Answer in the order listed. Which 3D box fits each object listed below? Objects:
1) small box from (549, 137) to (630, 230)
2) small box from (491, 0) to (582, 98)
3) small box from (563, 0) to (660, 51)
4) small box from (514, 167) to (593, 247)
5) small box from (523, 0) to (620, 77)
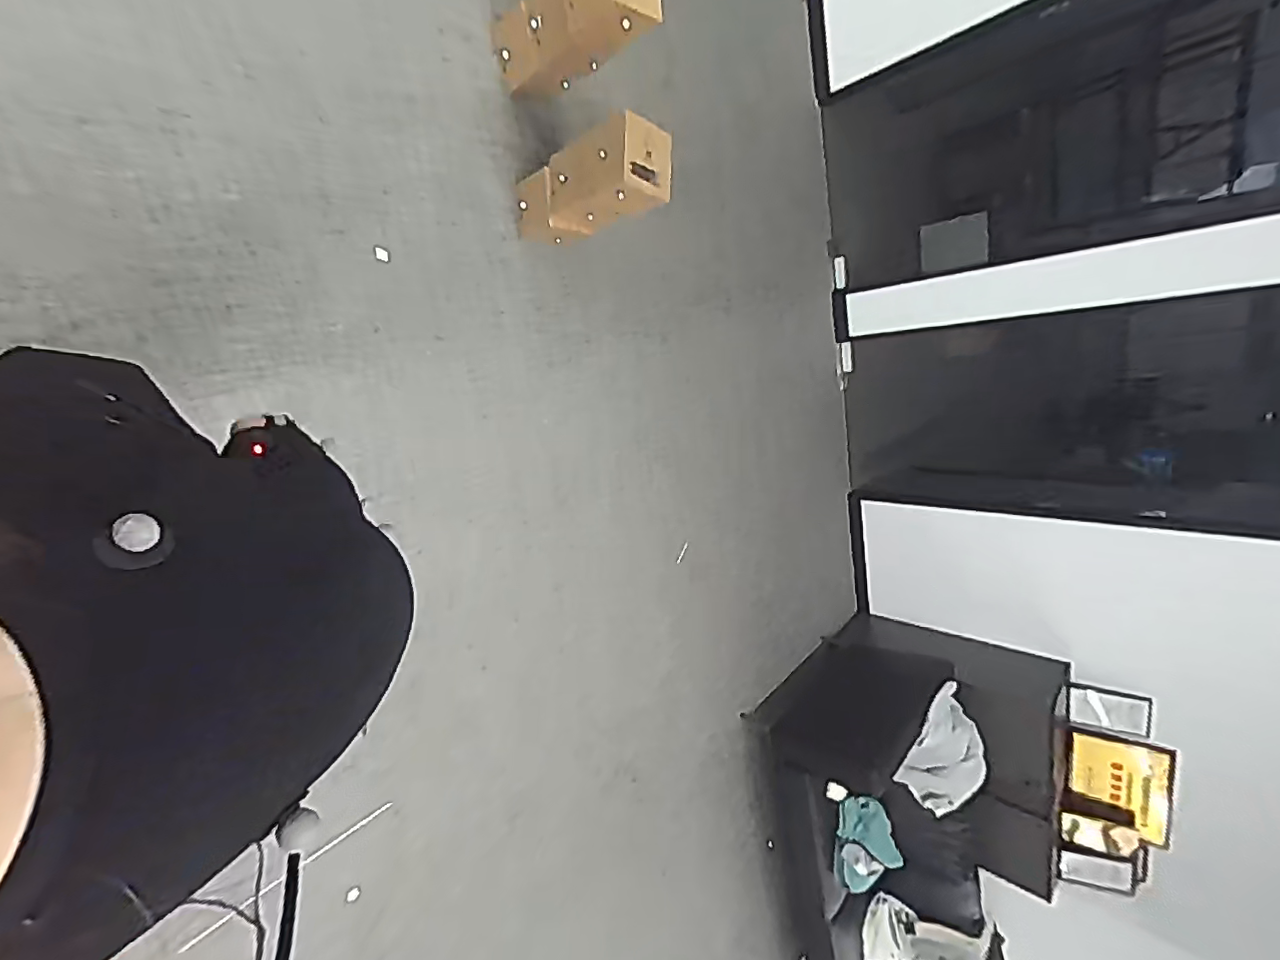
[{"bbox_3d":[-0.147,-0.835,1.545,0.179,0.176,0.168,-5,97,-43],"label":"small box"},{"bbox_3d":[-0.302,-1.245,1.579,0.179,0.176,0.168,-28,113,-39],"label":"small box"},{"bbox_3d":[-0.075,-1.216,1.348,0.179,0.176,0.168,-20,108,-41],"label":"small box"},{"bbox_3d":[-0.265,-0.827,1.659,0.179,0.176,0.168,-10,101,-42],"label":"small box"},{"bbox_3d":[-0.186,-1.229,1.467,0.179,0.176,0.168,-28,112,-39],"label":"small box"}]
